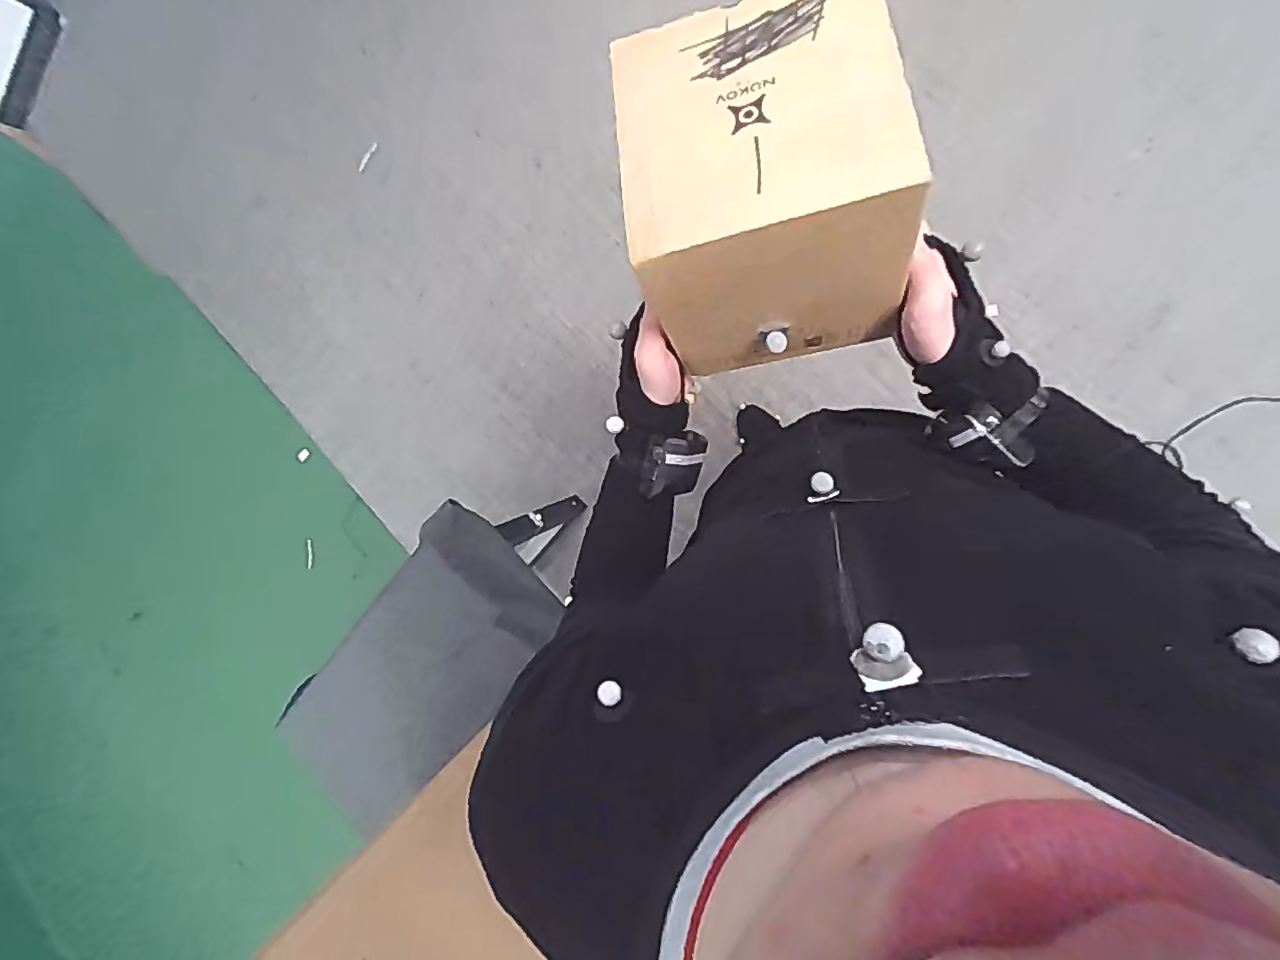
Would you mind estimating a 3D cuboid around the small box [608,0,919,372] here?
[{"bbox_3d":[0.084,-0.202,0.391,0.168,0.176,0.179,-8,75,17],"label":"small box"}]
